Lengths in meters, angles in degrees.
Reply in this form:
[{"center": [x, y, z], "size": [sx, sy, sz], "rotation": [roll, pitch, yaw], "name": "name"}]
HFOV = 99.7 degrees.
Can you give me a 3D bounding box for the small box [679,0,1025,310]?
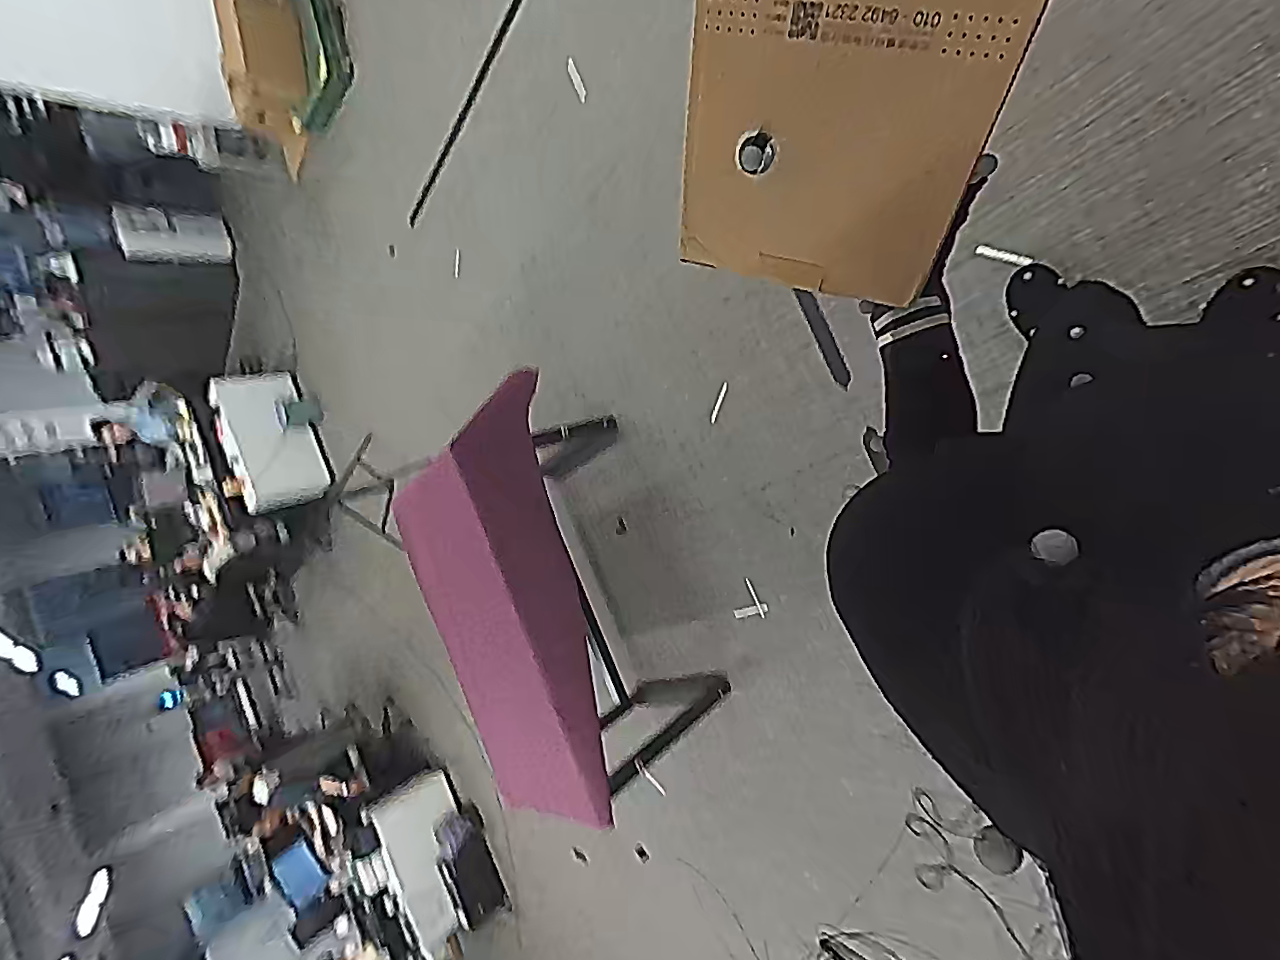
[{"center": [0.133, -0.246, 0.367], "size": [0.168, 0.179, 0.176], "rotation": [18, 141, 16], "name": "small box"}]
